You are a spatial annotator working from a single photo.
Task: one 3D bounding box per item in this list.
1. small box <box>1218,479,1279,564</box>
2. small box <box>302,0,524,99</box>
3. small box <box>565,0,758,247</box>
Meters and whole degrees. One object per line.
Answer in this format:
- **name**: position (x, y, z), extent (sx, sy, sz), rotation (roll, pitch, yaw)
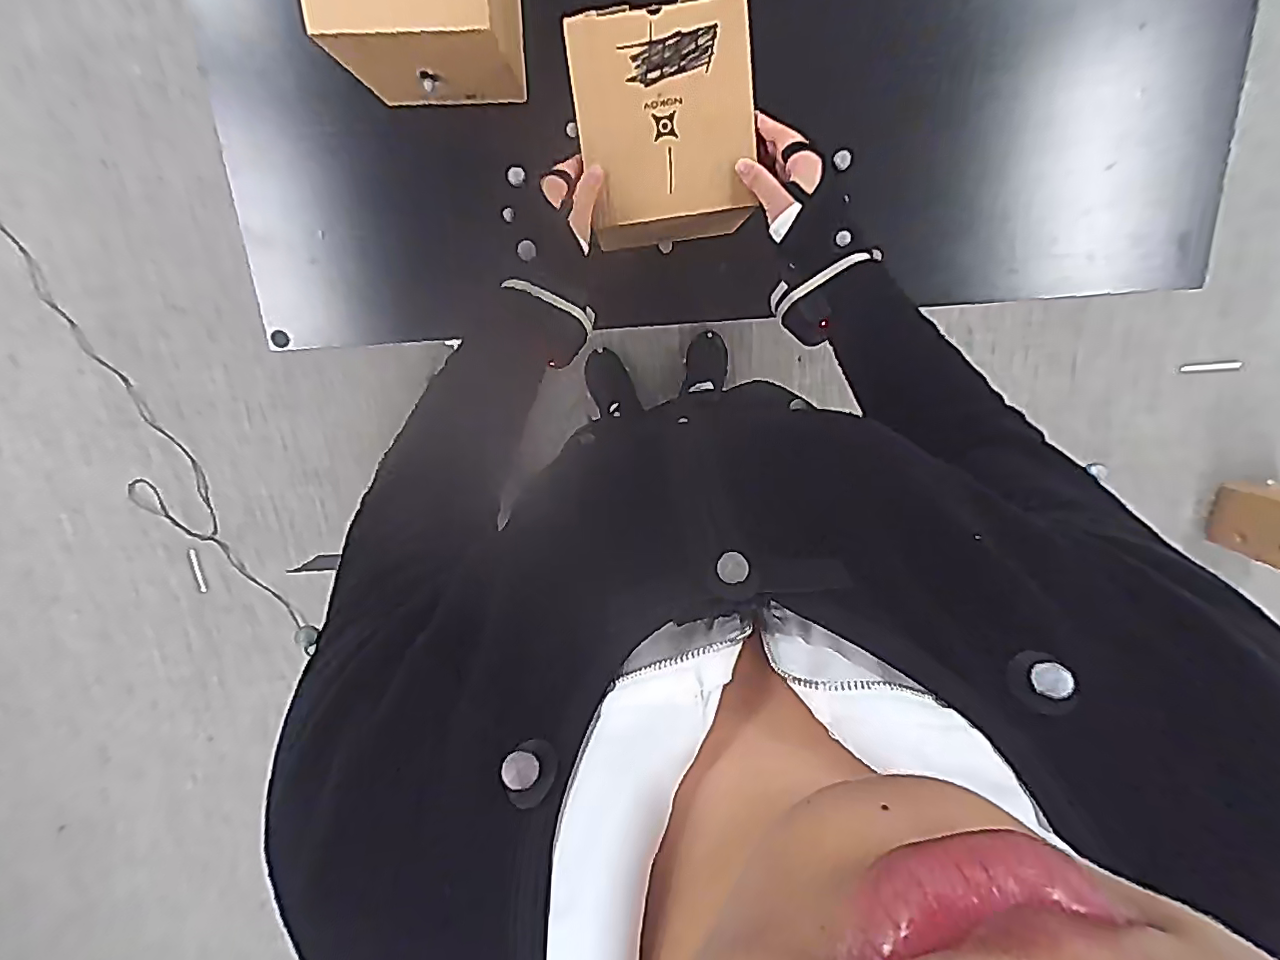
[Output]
- **small box**: position (1.717, 0.107, 1.443), extent (0.168, 0.176, 0.179), rotation (-5, 105, 1)
- **small box**: position (-0.218, -0.505, 0.538), extent (0.168, 0.176, 0.179), rotation (-1, 106, 0)
- **small box**: position (0.023, -0.363, 0.576), extent (0.168, 0.176, 0.179), rotation (-7, 106, 3)
